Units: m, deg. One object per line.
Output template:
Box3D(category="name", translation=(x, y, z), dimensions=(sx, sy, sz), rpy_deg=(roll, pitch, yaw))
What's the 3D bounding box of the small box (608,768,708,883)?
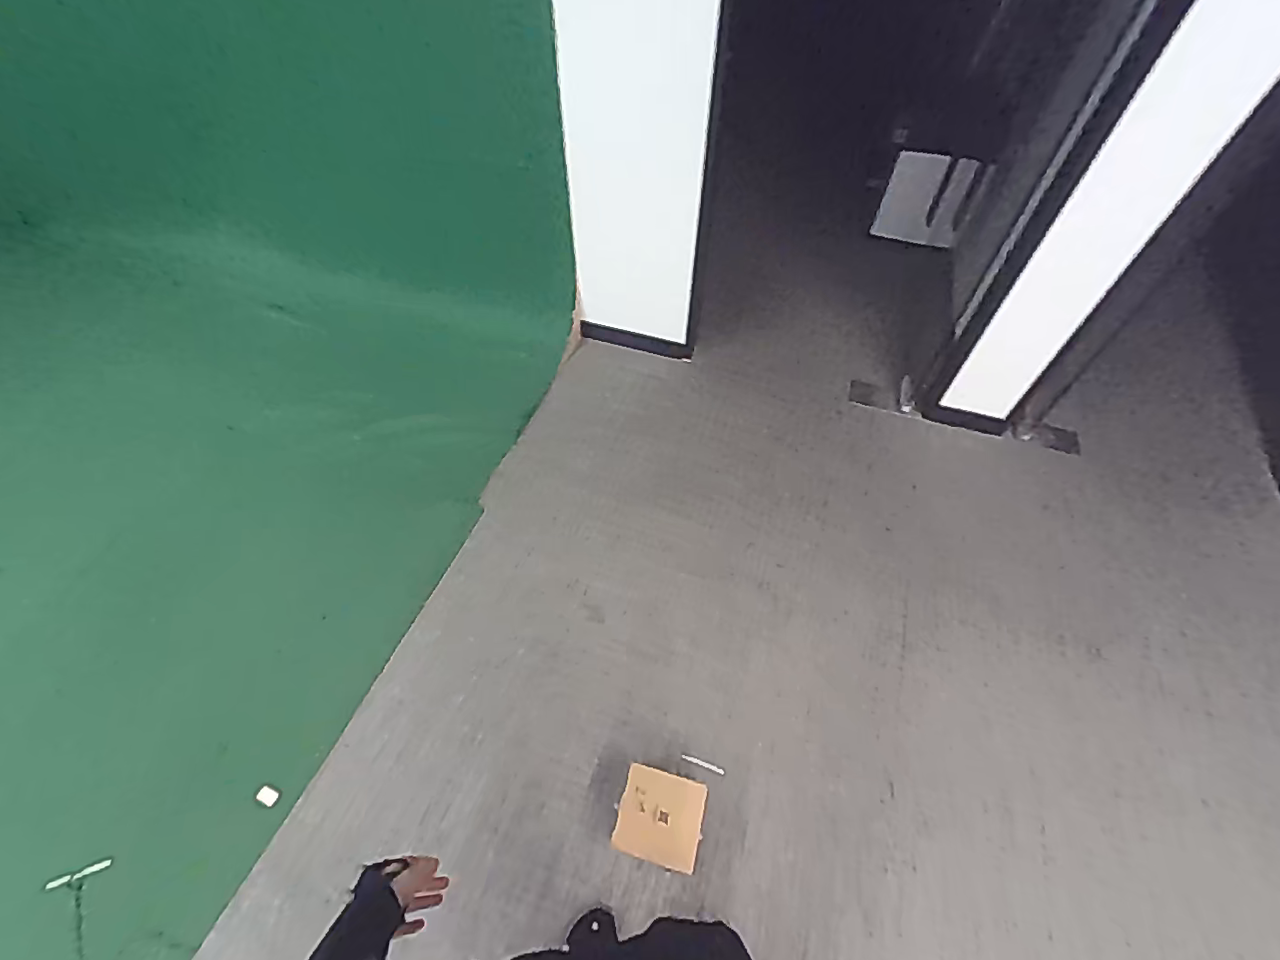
Box3D(category="small box", translation=(0.040, 0.762, 1.193), dimensions=(0.179, 0.176, 0.168), rpy_deg=(13, 53, 10))
